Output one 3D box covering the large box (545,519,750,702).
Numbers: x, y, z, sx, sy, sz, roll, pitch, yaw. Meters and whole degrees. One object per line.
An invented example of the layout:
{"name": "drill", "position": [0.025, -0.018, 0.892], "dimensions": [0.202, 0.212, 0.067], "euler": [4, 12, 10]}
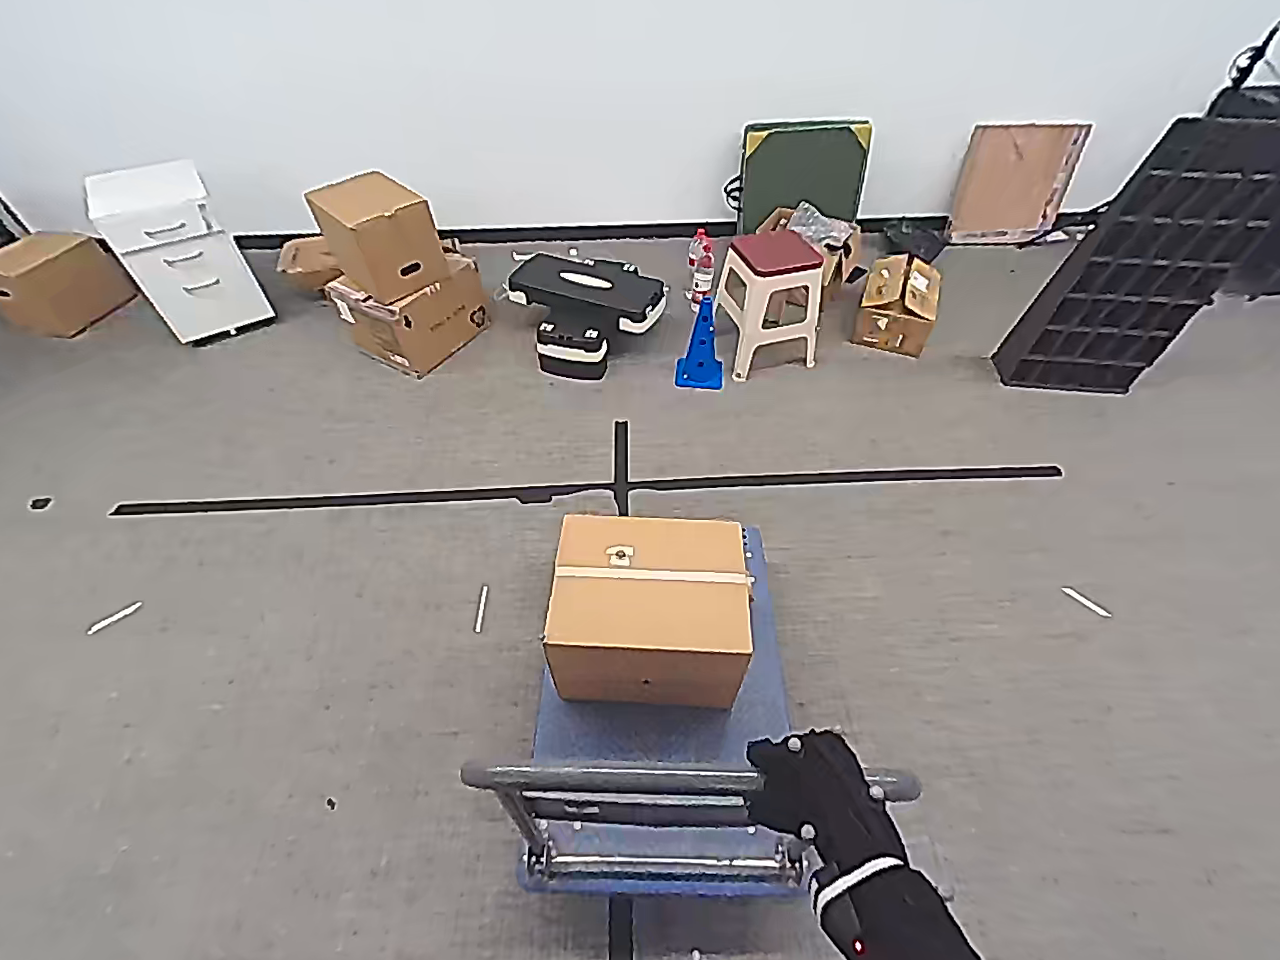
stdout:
{"name": "large box", "position": [0.022, 0.306, 1.251], "dimensions": [0.408, 0.320, 0.320], "euler": [2, 49, 3]}
